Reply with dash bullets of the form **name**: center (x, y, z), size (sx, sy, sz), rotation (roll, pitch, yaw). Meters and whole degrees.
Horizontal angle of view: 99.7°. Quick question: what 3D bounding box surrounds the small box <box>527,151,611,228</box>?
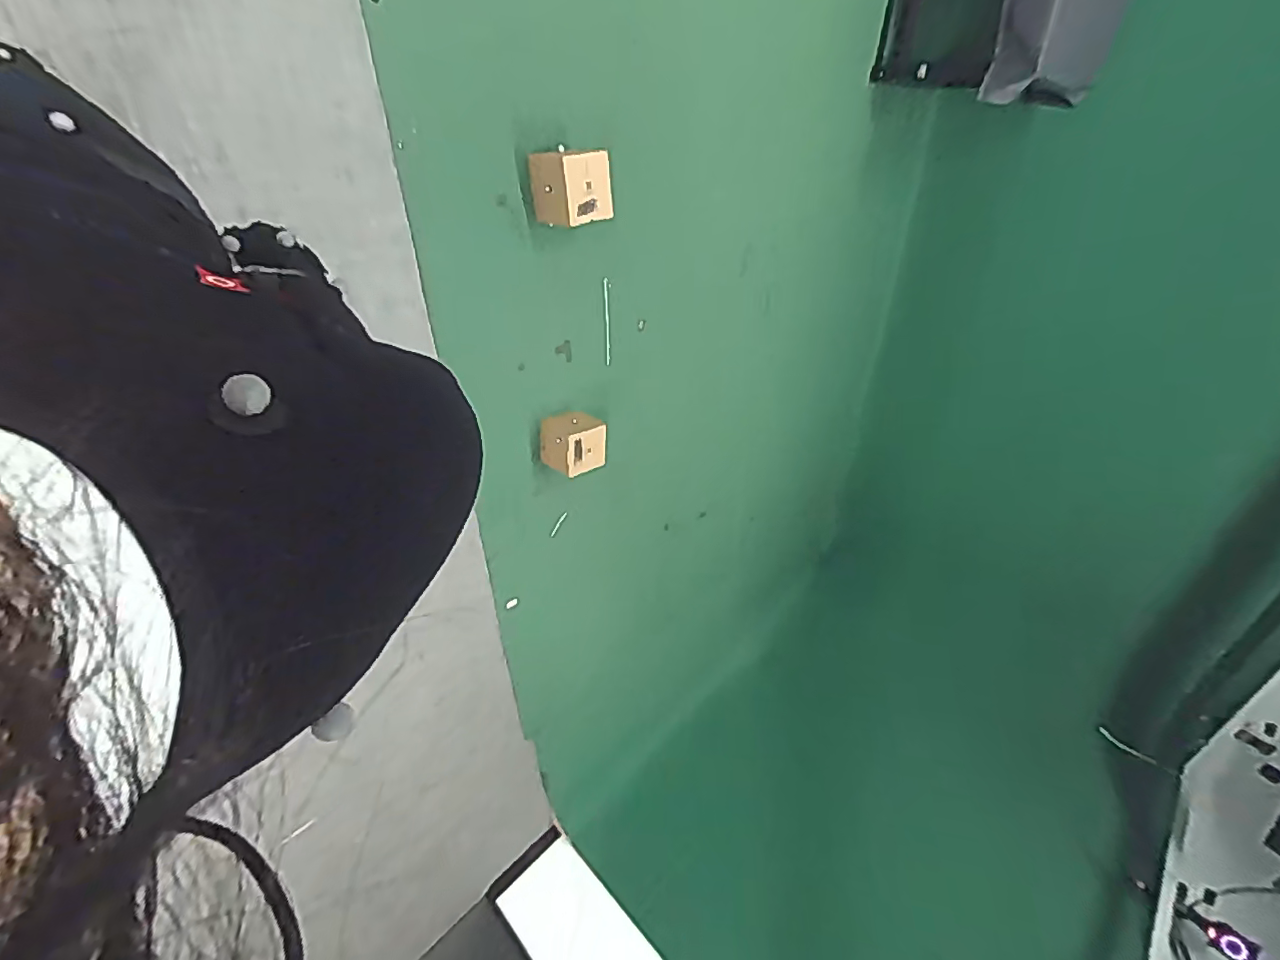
- **small box**: center (-0.204, -0.847, 1.569), size (0.168, 0.176, 0.179), rotation (-32, 133, -34)
